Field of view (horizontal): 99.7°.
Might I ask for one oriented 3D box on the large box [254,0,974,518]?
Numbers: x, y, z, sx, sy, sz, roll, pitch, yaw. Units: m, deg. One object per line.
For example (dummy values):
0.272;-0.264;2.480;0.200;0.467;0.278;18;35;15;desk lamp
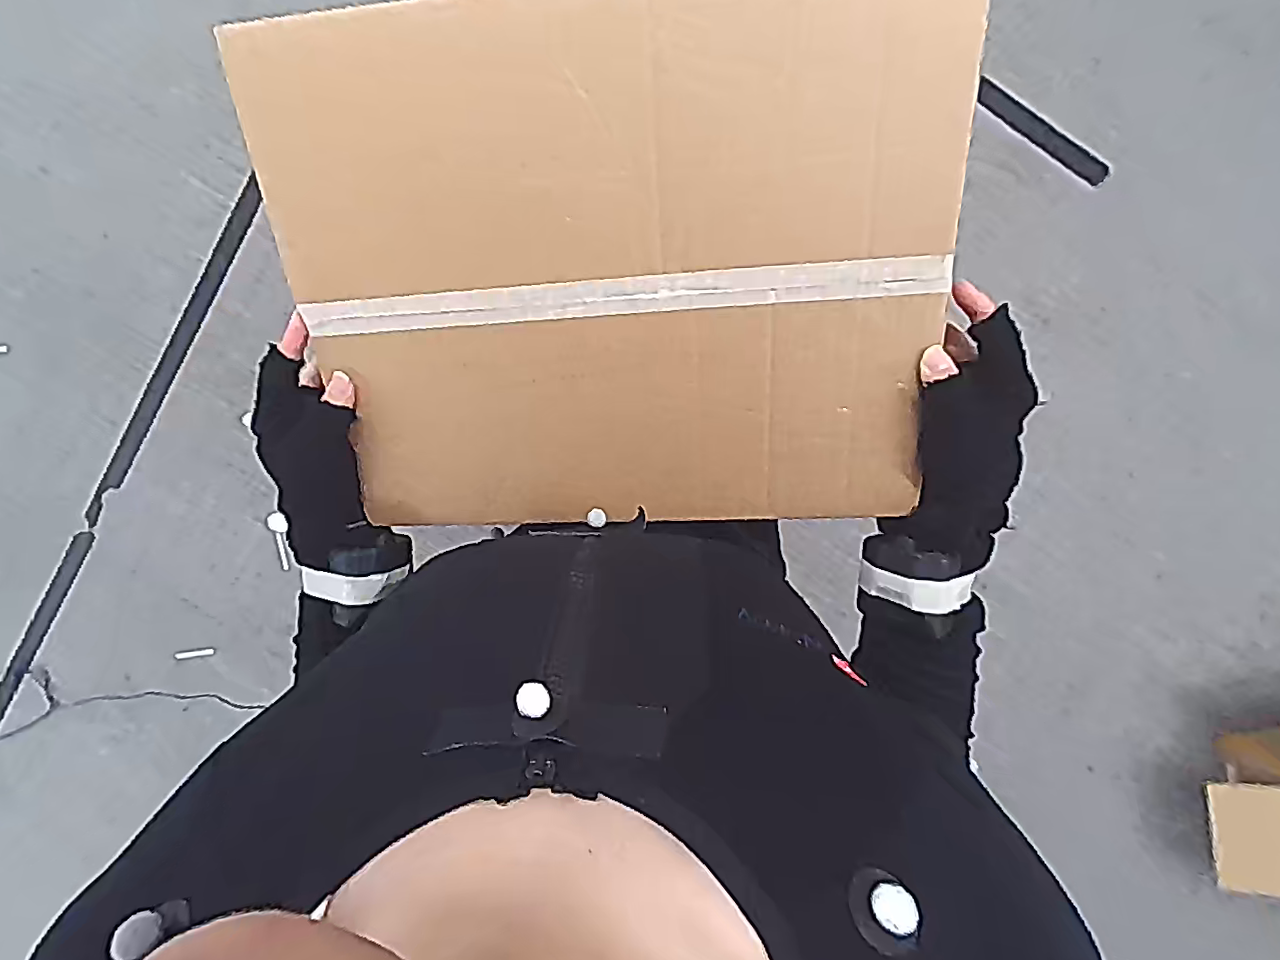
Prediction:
-0.005;-0.176;0.481;0.408;0.320;0.320;-2;114;7;large box
